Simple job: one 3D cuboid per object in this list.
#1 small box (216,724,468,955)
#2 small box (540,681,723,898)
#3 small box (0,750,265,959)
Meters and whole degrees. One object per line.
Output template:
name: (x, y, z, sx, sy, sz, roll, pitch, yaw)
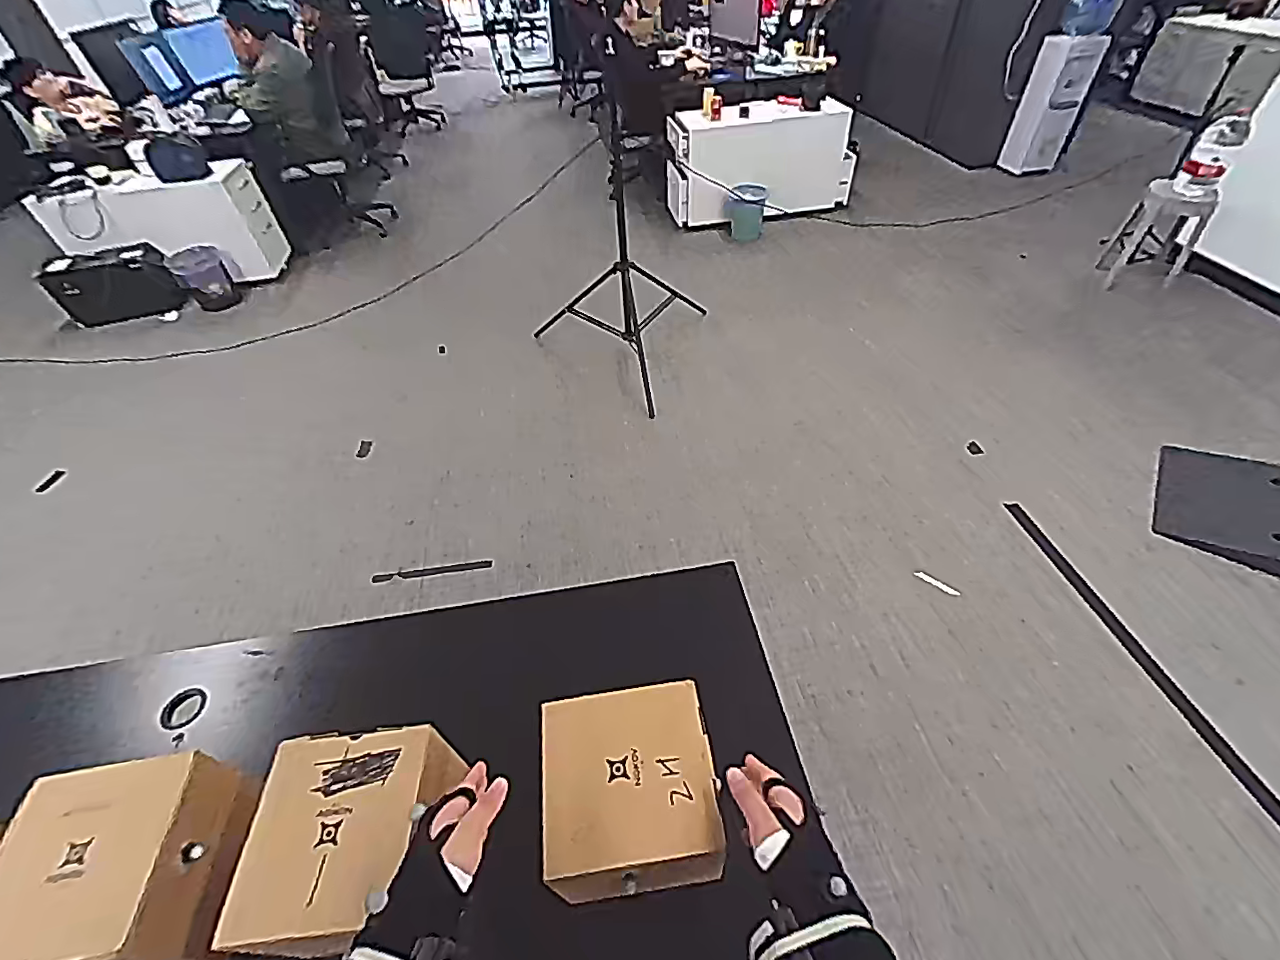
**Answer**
small box: (-0.298, 0.394, 0.593, 0.168, 0.176, 0.179, -6, 47, -2)
small box: (-0.010, 0.353, 0.614, 0.179, 0.176, 0.168, -7, 47, -3)
small box: (-0.546, 0.423, 0.584, 0.168, 0.176, 0.179, -8, 45, -6)
